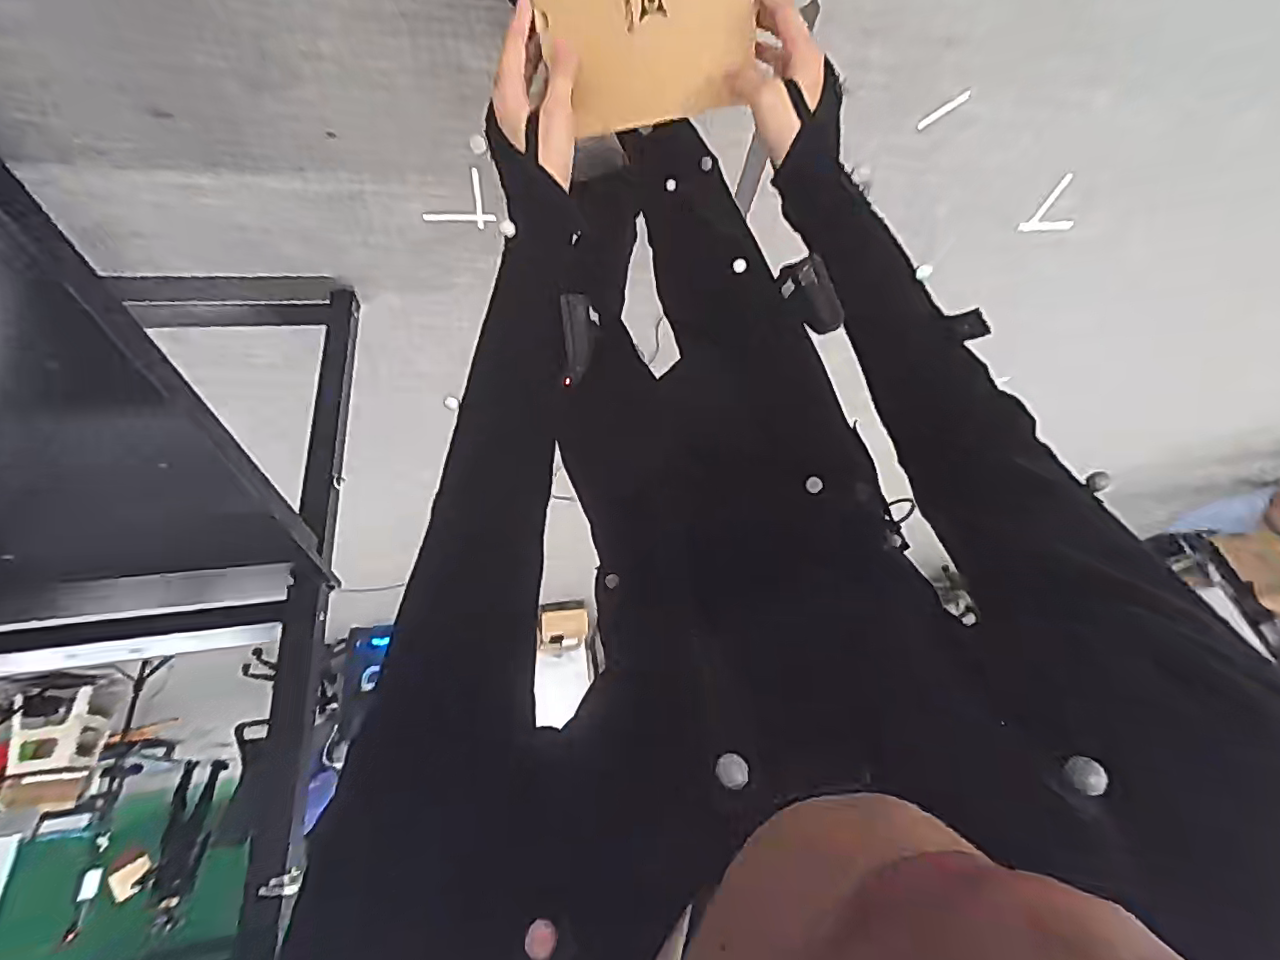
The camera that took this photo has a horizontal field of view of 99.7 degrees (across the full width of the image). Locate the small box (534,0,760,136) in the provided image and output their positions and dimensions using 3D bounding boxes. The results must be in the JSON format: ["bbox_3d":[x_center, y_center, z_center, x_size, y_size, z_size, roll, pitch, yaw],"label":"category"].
[{"bbox_3d":[-0.004,-0.430,0.466,0.179,0.176,0.168,-11,139,2],"label":"small box"}]
